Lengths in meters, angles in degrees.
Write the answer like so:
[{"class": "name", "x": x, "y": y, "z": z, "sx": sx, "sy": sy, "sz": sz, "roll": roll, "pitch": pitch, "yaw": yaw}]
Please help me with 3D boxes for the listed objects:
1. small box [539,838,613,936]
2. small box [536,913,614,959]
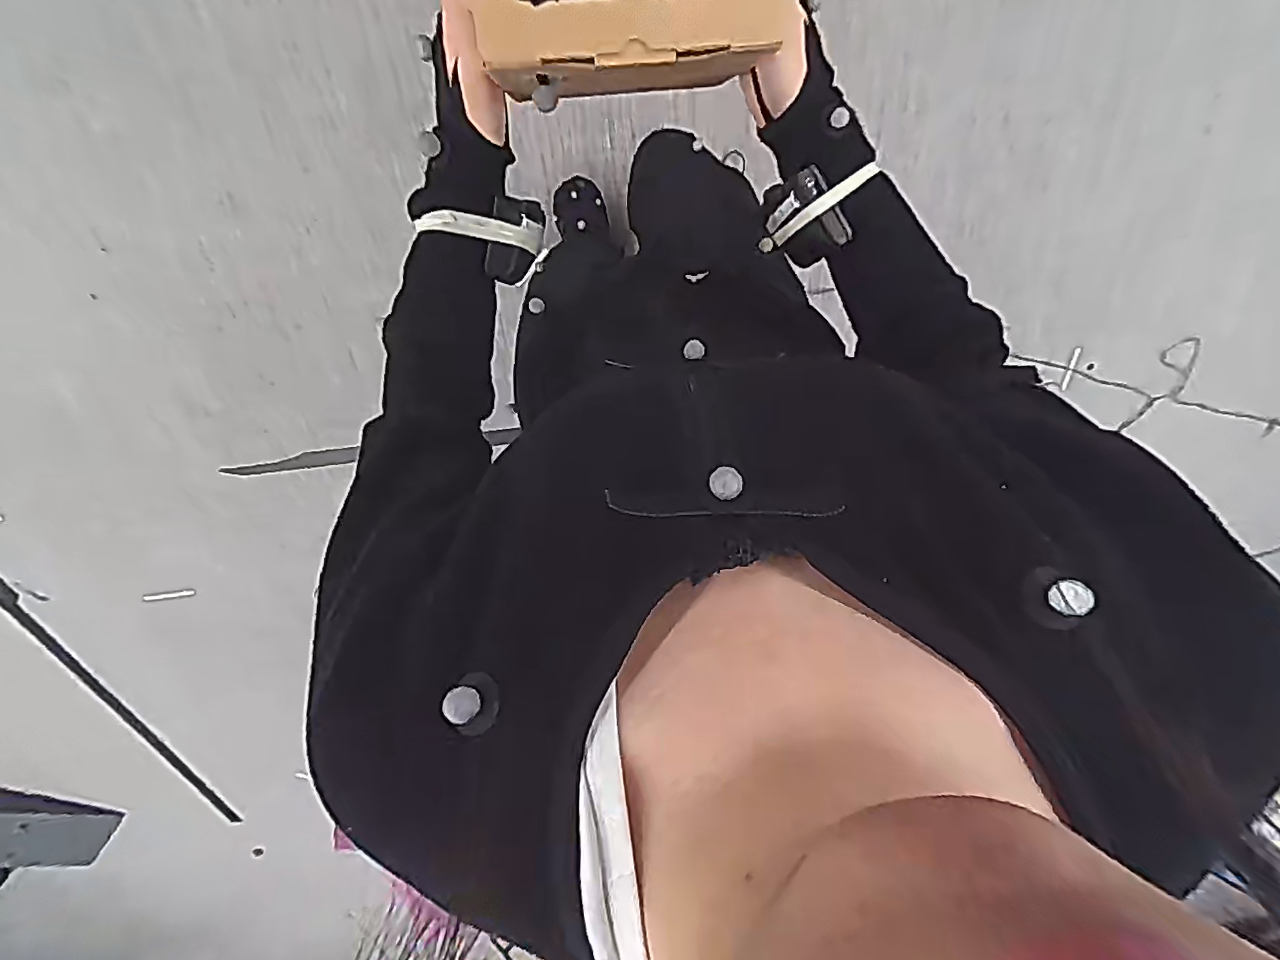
[{"class": "small box", "x": -0.157, "y": 1.009, "z": 1.334, "sx": 0.168, "sy": 0.176, "sz": 0.179, "roll": -5, "pitch": 124, "yaw": -5}, {"class": "small box", "x": -0.139, "y": 1.101, "z": 1.199, "sx": 0.168, "sy": 0.176, "sz": 0.179, "roll": -6, "pitch": 123, "yaw": -5}]
